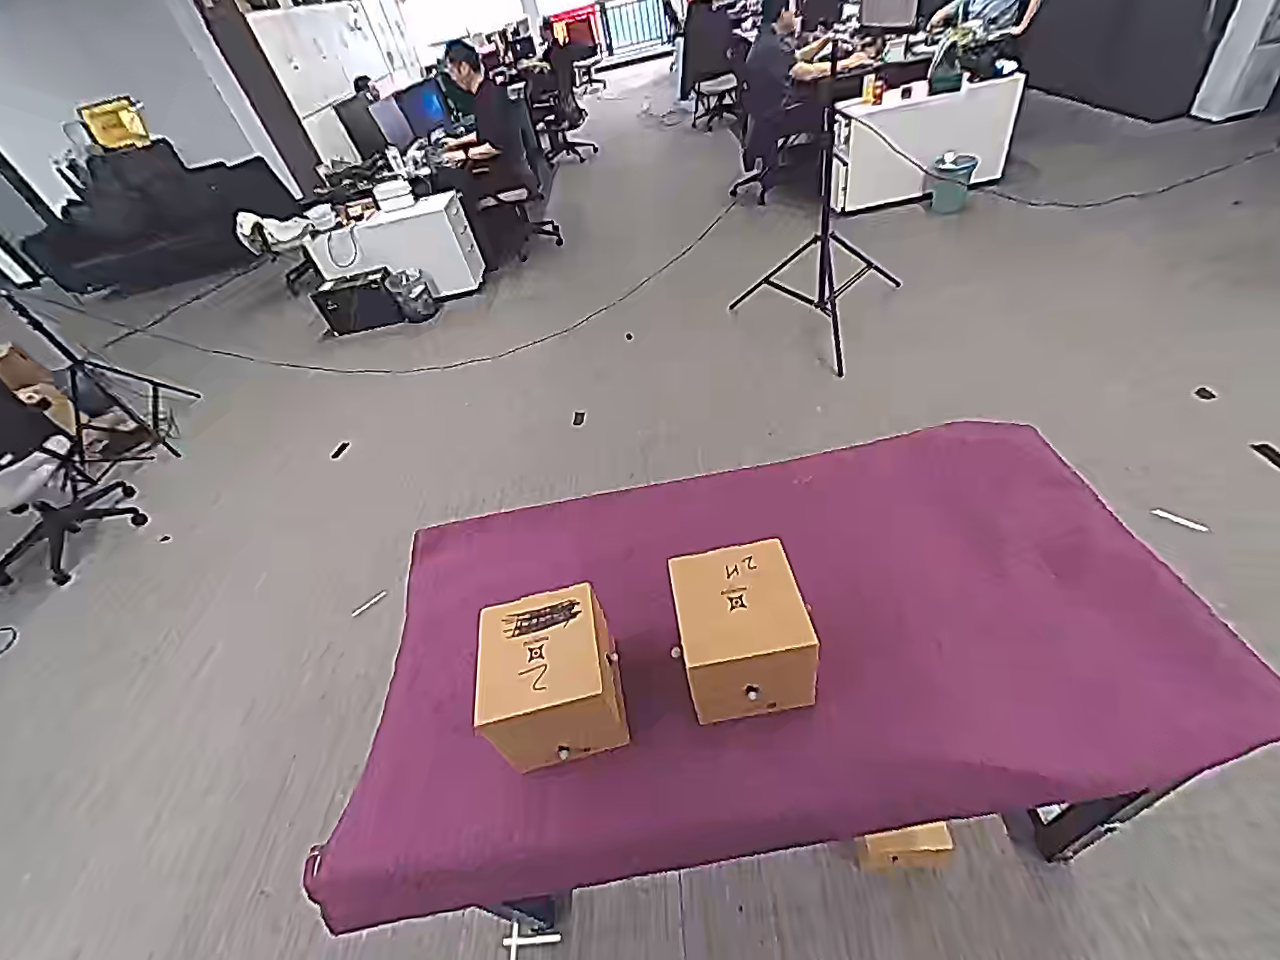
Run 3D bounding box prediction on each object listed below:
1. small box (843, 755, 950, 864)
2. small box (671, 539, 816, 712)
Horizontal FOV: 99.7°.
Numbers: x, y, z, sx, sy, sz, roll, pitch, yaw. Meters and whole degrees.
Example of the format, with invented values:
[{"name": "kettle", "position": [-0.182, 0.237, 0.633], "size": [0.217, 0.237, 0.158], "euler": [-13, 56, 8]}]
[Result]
[{"name": "small box", "position": [0.557, 0.736, 1.199], "size": [0.168, 0.176, 0.179], "euler": [-8, 43, 8]}, {"name": "small box", "position": [0.146, 0.215, 0.778], "size": [0.168, 0.176, 0.179], "euler": [-11, 42, 3]}]
